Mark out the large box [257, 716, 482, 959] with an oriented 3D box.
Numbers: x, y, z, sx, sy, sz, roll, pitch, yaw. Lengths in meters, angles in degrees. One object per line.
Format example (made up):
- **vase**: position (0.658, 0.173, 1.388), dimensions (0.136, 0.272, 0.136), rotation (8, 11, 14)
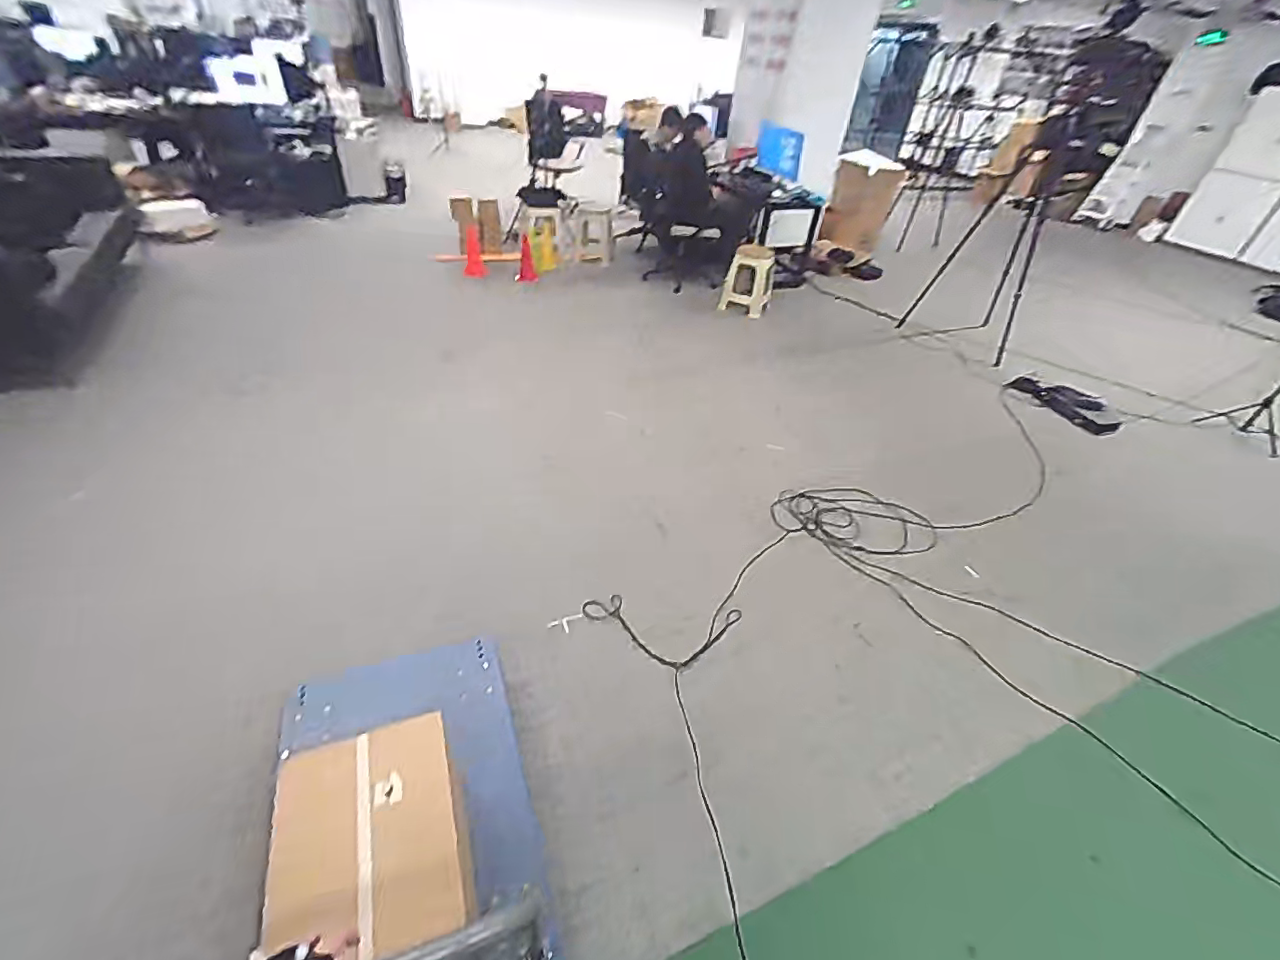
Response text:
- **large box**: position (-0.523, 0.779, 1.087), dimensions (0.320, 0.320, 0.408), rotation (-10, 41, -20)
